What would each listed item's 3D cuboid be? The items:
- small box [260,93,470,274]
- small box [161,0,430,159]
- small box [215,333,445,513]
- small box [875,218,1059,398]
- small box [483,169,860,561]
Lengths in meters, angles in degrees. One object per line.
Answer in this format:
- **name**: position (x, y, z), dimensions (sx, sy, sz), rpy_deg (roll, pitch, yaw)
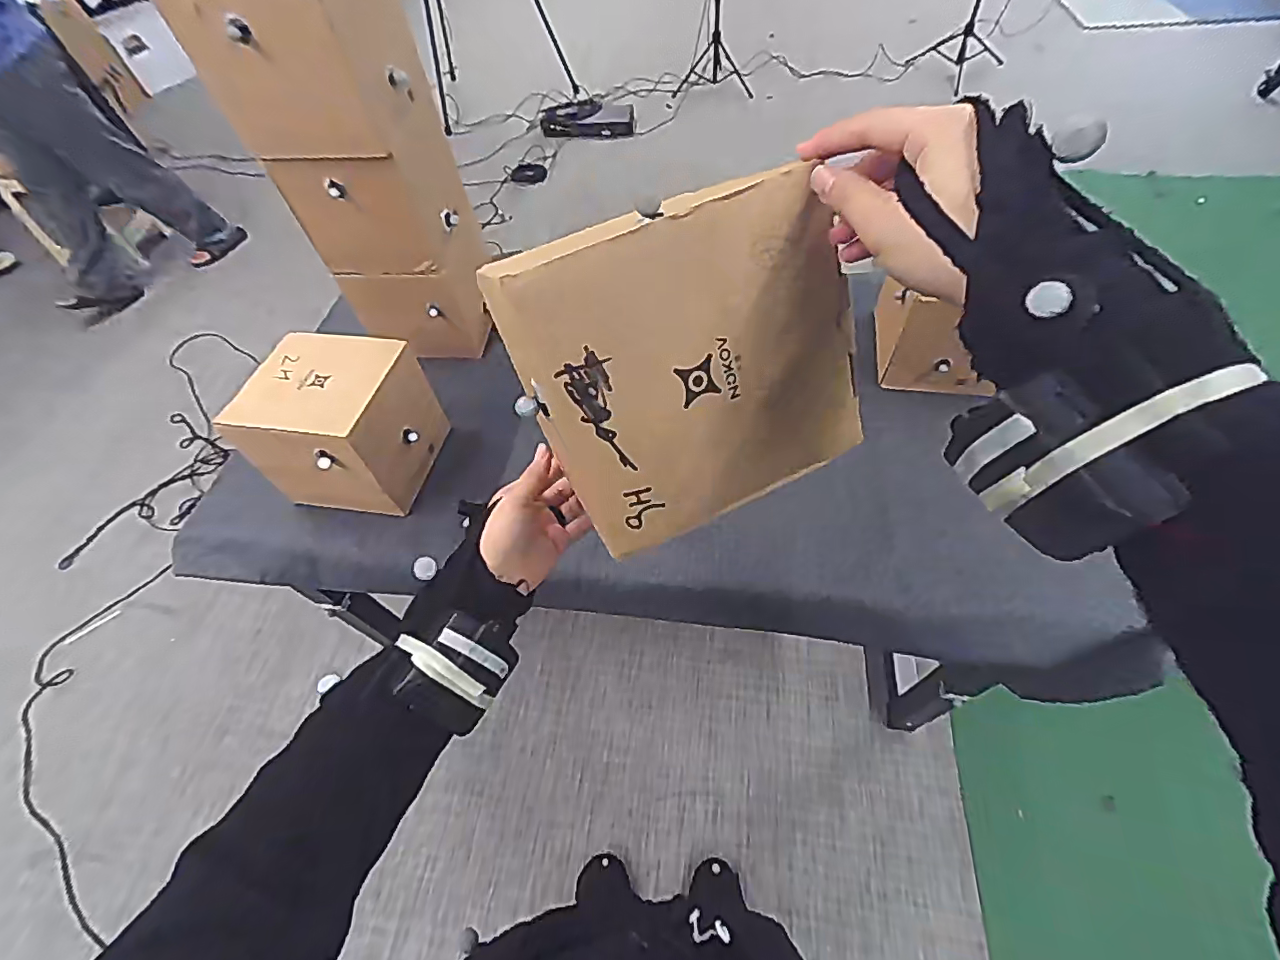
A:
- **small box**: position (-0.363, -0.406, 0.752), dimensions (0.179, 0.176, 0.168), rpy_deg (2, 59, 4)
- **small box**: position (-0.371, -0.487, 0.609), dimensions (0.179, 0.176, 0.168), rpy_deg (4, 59, 6)
- **small box**: position (-0.389, -0.071, 0.721), dimensions (0.179, 0.176, 0.168), rpy_deg (6, 54, 9)
- **small box**: position (0.442, -0.243, 0.768), dimensions (0.168, 0.176, 0.179), rpy_deg (6, 59, 10)
- **small box**: position (0.012, -0.083, 0.359), dimensions (0.179, 0.168, 0.176), rpy_deg (-24, 26, -10)
